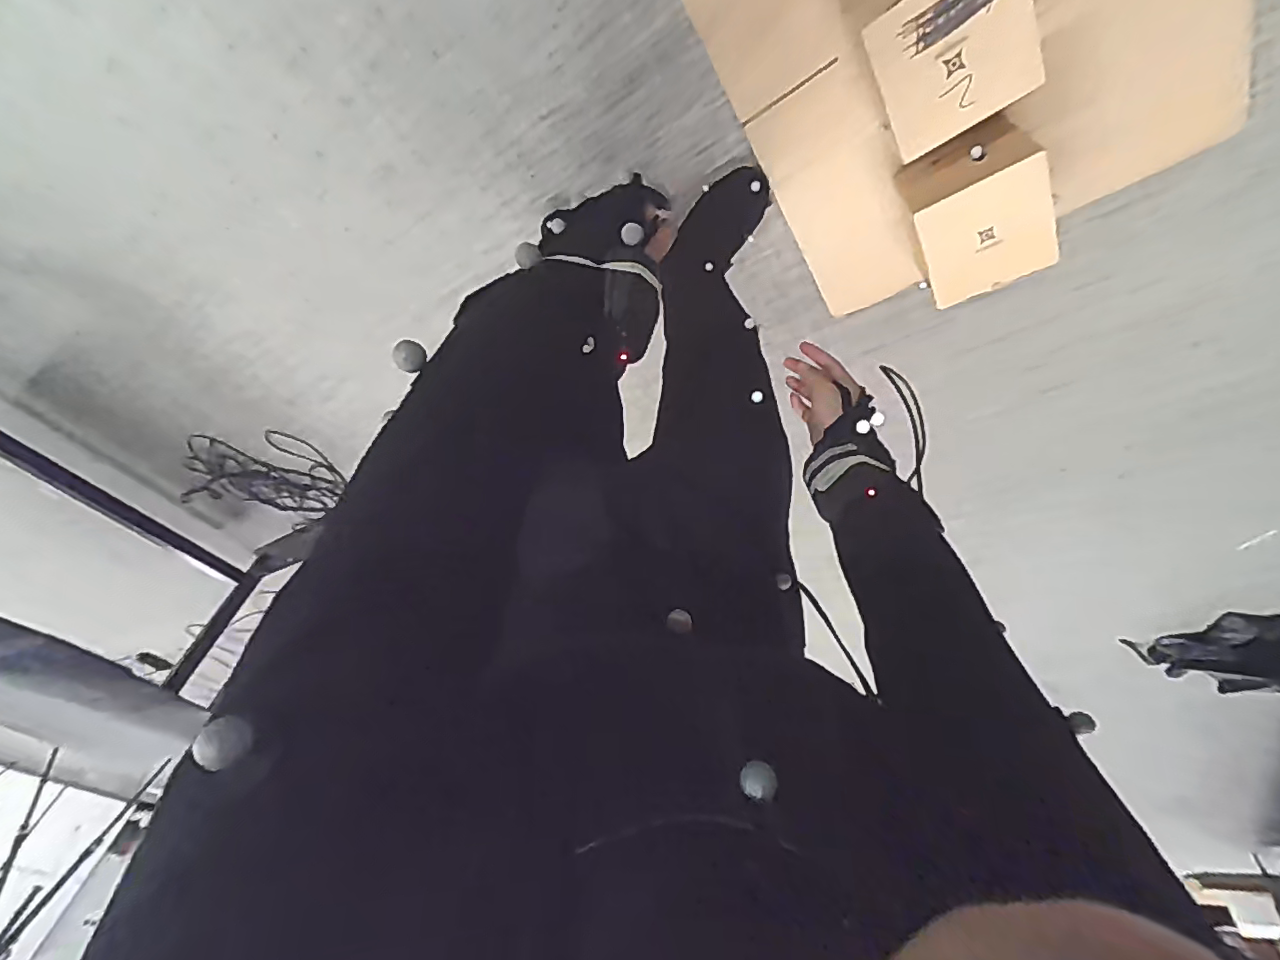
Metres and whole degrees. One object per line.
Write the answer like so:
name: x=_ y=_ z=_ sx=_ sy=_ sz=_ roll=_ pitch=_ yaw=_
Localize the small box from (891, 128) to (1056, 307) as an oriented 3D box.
small box: x=0.509 y=-0.411 z=0.840 sx=0.168 sy=0.176 sz=0.179 roll=-20 pitch=129 yaw=28
